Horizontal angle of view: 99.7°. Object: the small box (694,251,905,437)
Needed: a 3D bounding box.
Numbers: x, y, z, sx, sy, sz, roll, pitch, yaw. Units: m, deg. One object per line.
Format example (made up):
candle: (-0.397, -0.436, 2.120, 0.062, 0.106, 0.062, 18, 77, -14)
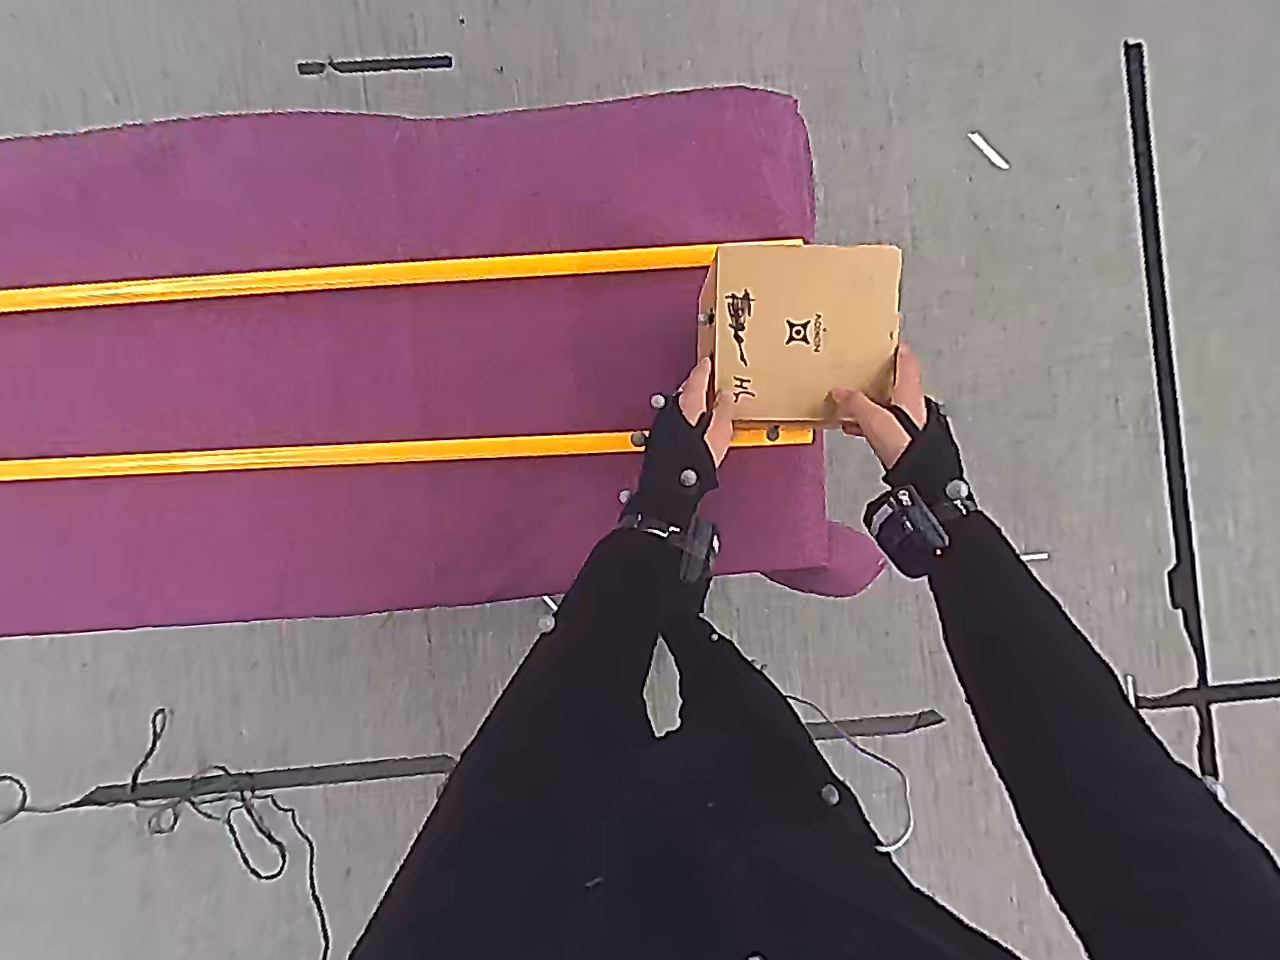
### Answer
small box: (0.158, -0.133, 0.587, 0.179, 0.176, 0.168, 1, 93, 0)
